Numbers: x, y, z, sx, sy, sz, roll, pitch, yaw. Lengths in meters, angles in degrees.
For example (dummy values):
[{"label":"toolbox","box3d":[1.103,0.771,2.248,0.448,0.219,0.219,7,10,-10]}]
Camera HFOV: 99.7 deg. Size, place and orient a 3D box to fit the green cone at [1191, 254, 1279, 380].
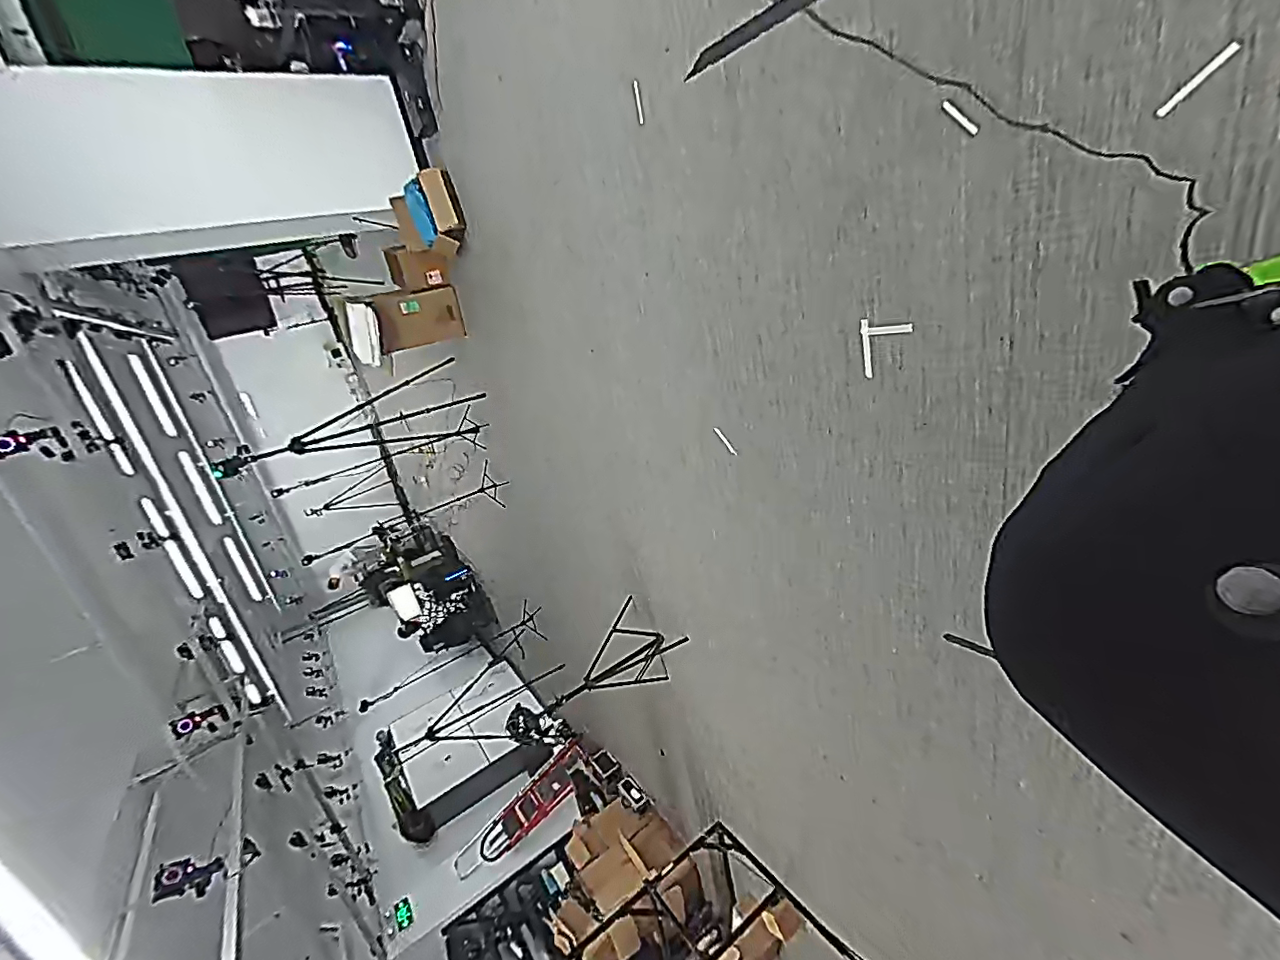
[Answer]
[{"label":"green cone","box3d":[0.970,-0.230,0.857,0.202,0.368,0.200,-7,104,62]}]
